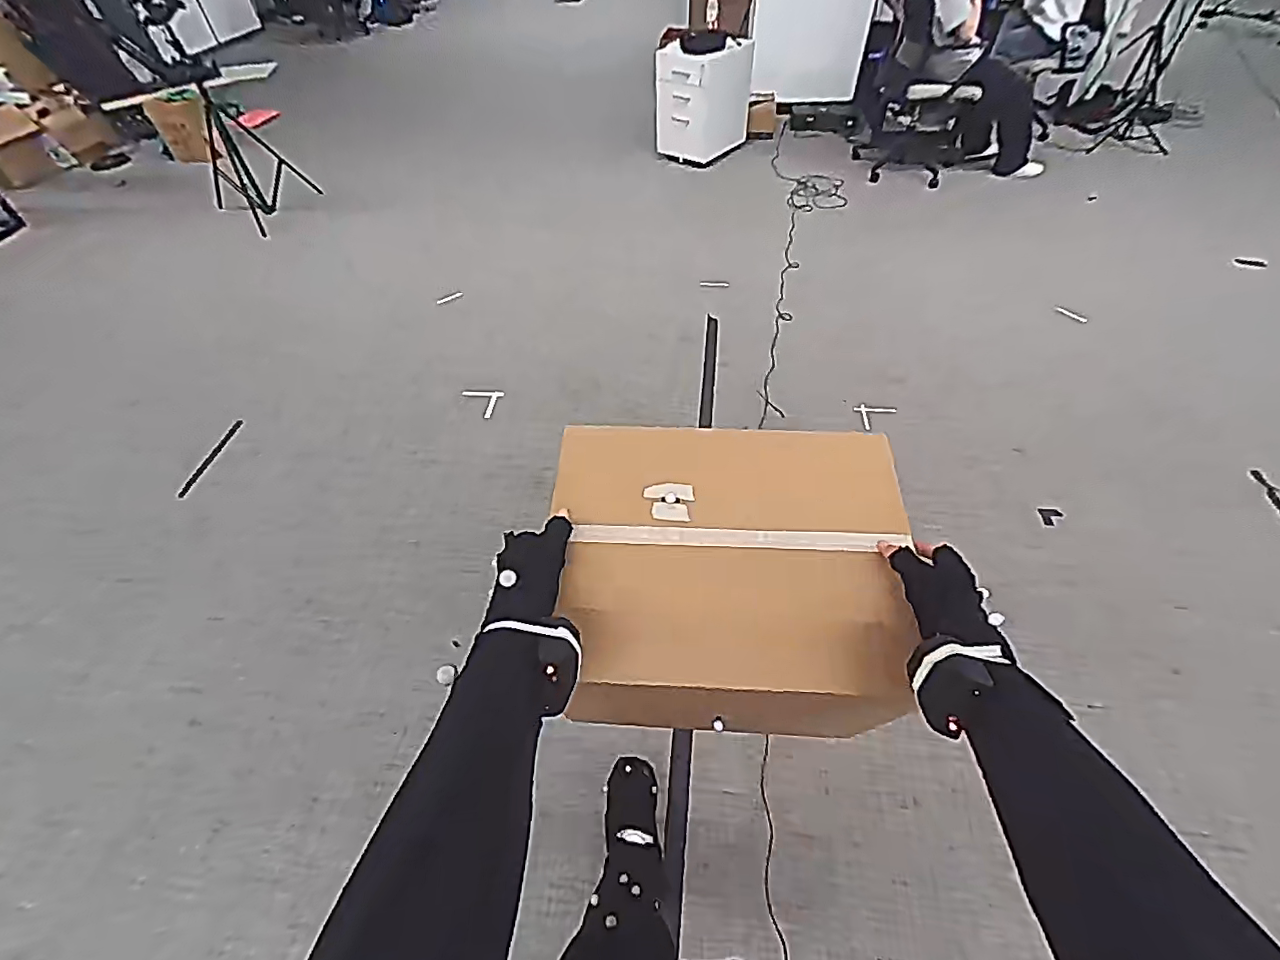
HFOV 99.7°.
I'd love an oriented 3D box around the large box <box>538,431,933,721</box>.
[{"bbox_3d":[0.106,0.146,0.745,0.408,0.320,0.320,1,58,3],"label":"large box"}]
